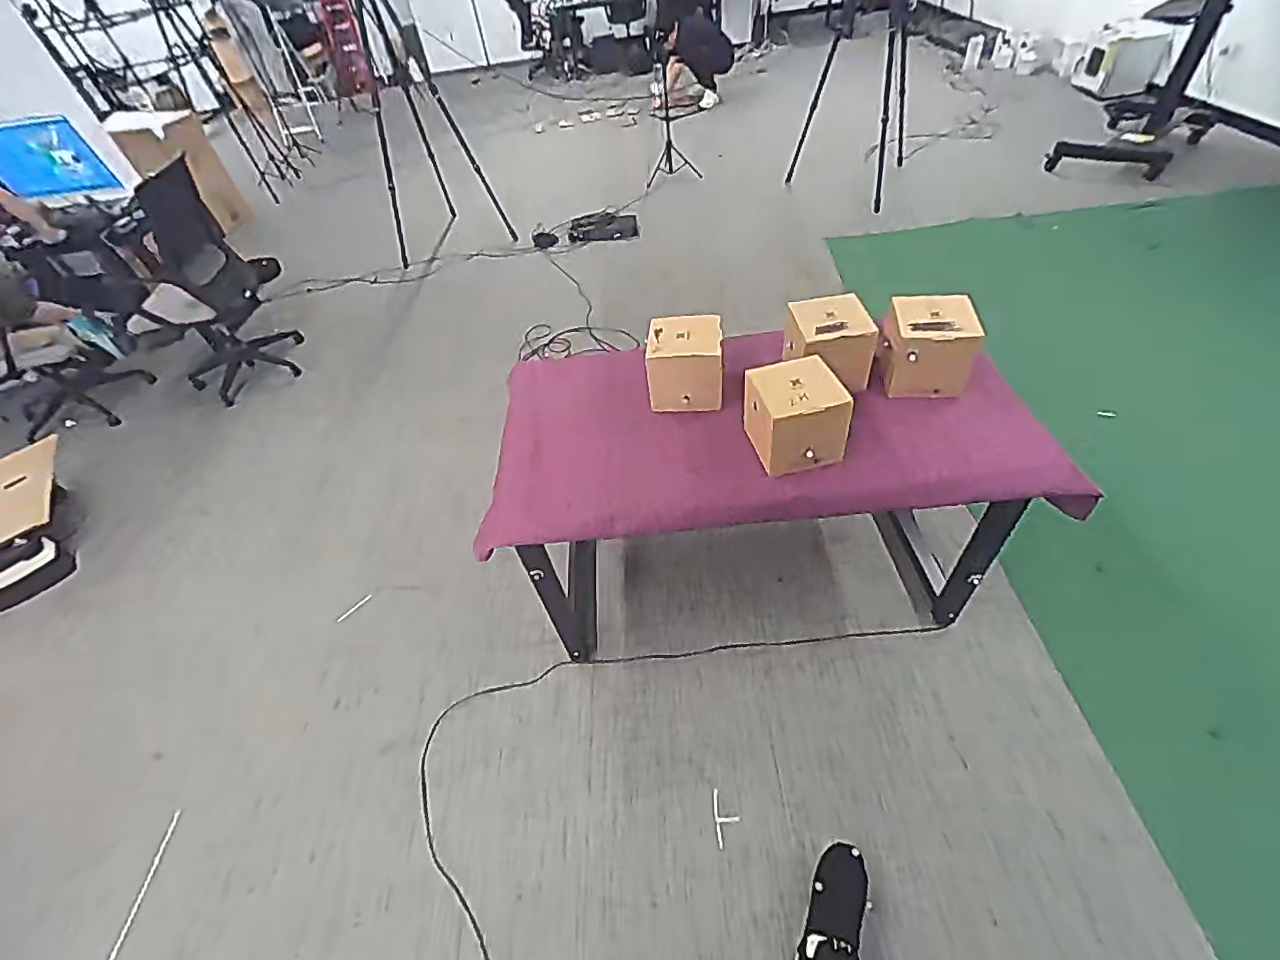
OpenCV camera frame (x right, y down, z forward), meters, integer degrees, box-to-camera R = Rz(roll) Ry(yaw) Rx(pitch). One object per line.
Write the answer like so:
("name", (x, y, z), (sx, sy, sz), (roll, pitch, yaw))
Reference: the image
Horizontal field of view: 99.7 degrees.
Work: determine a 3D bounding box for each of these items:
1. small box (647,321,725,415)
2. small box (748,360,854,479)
("small box", (0.119, -0.275, 1.341), (0.179, 0.176, 0.168), (0, 48, 9))
("small box", (0.335, -0.129, 1.168), (0.168, 0.176, 0.179), (-13, 46, -2))
